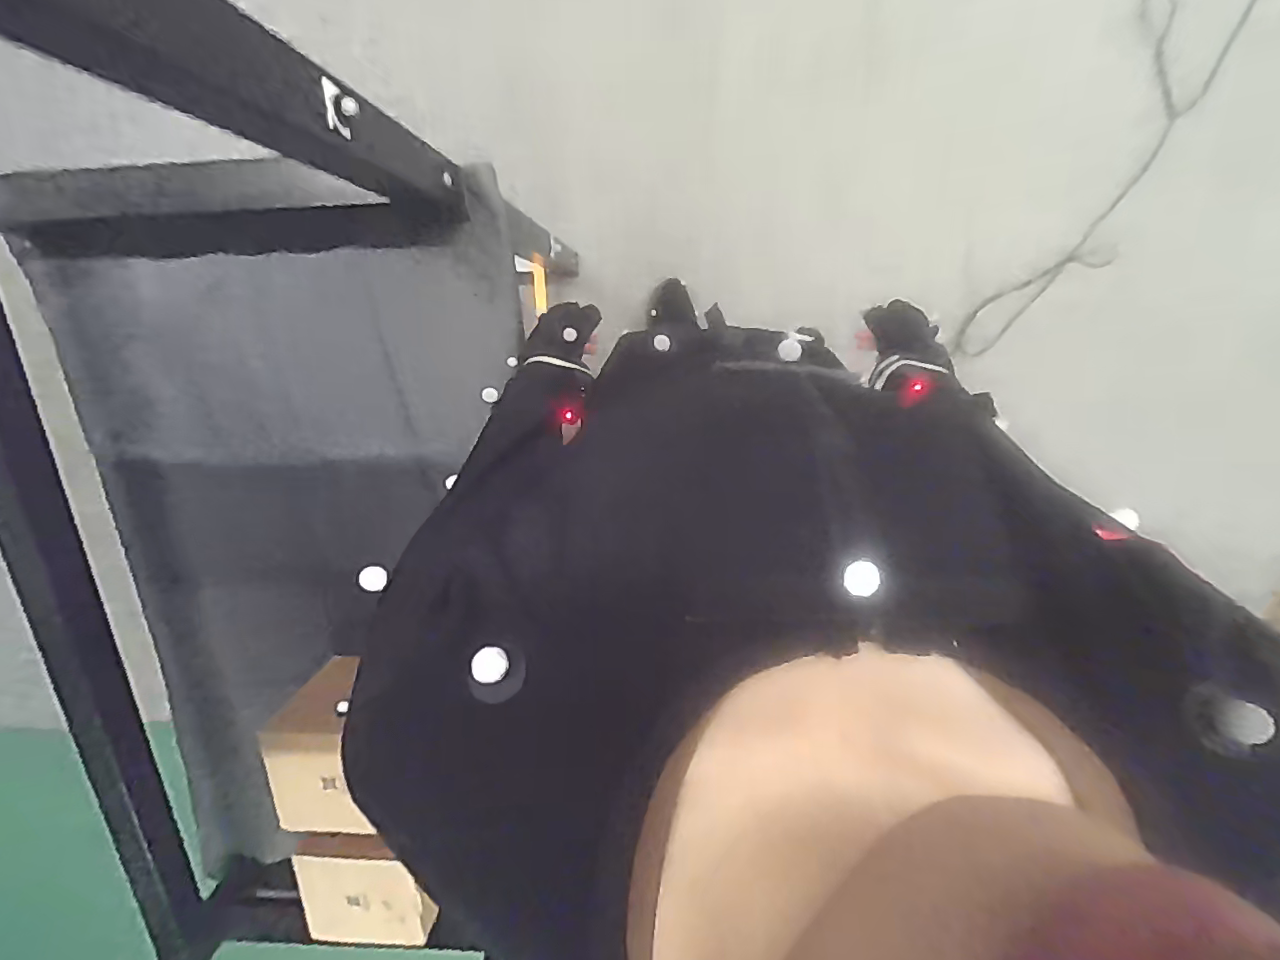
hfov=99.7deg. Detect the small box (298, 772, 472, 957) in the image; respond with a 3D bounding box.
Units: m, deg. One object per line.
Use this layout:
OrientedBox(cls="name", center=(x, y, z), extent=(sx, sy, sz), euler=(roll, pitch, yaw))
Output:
OrientedBox(cls="small box", center=(-0.382, 0.584, 0.840), extent=(0.179, 0.176, 0.168), euler=(0, 106, 4))
